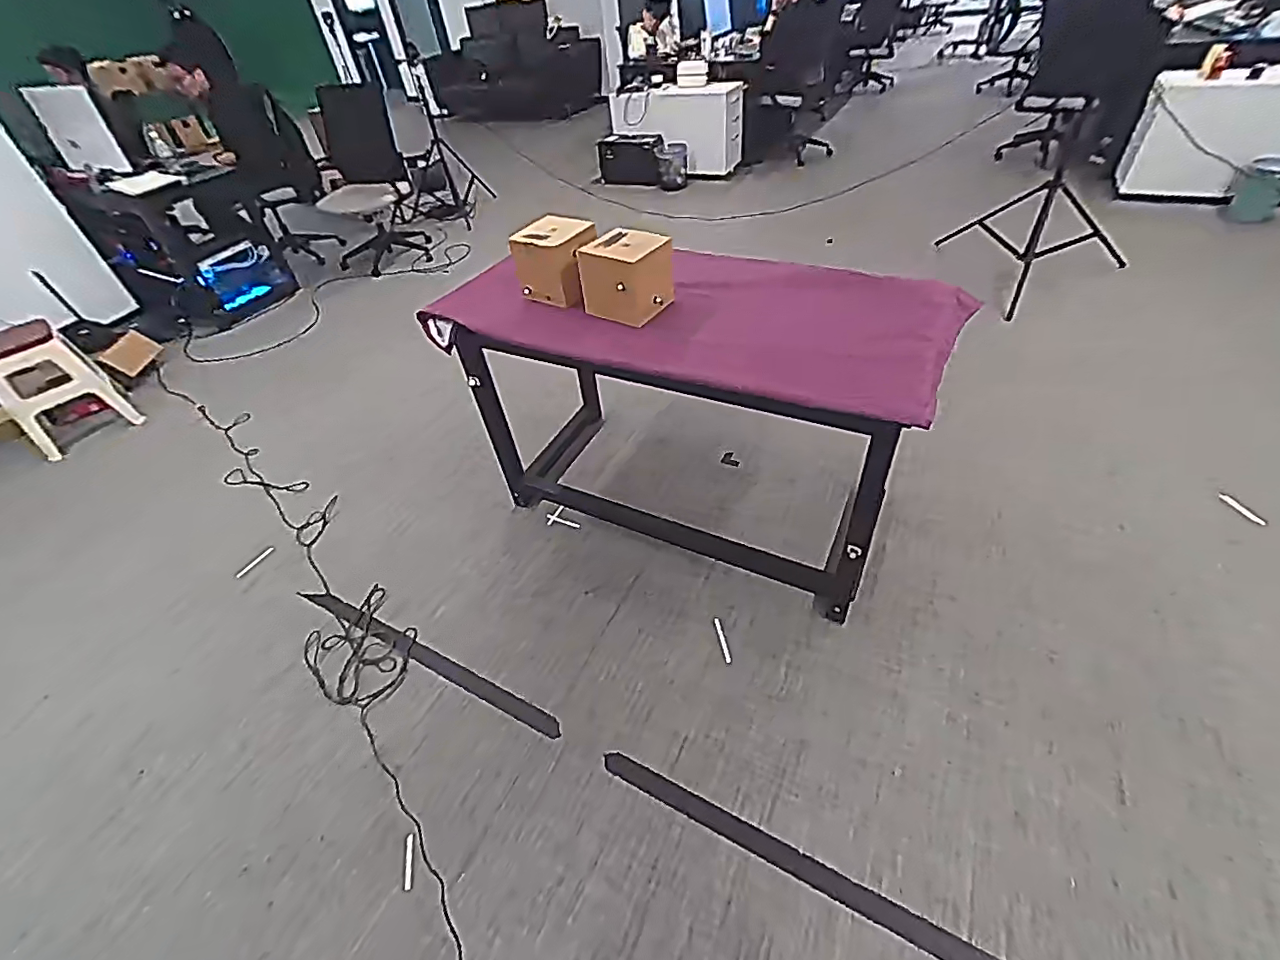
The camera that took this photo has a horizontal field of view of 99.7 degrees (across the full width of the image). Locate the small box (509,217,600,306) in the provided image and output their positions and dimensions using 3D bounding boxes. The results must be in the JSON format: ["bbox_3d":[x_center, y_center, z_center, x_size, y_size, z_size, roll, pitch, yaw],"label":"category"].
[{"bbox_3d":[-0.227,-0.602,1.494,0.168,0.176,0.179,22,51,26],"label":"small box"}]
